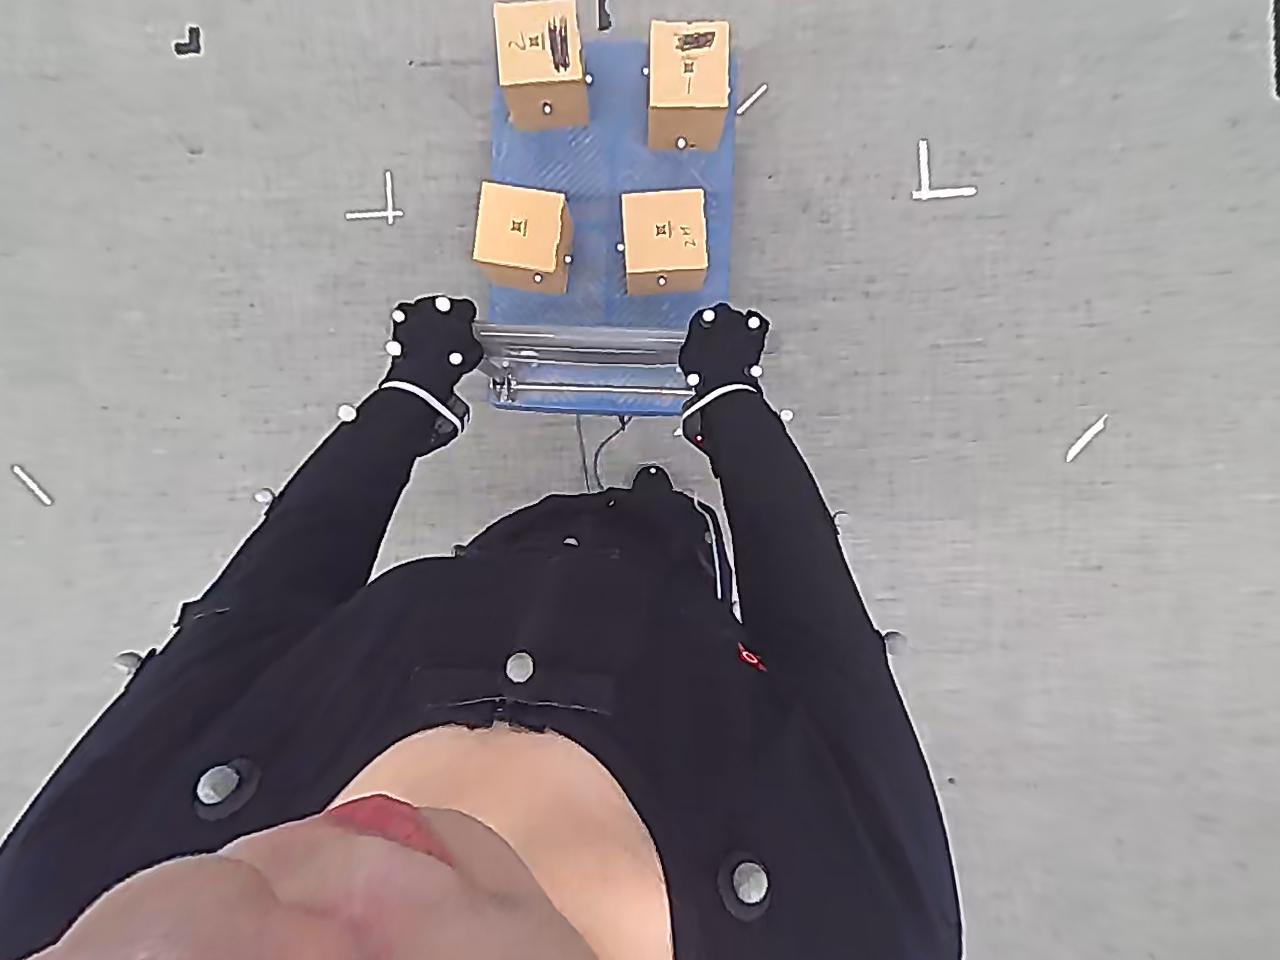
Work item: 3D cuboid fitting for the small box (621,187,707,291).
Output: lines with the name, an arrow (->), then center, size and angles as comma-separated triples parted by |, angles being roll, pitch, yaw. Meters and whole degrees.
small box -> 0.052, -0.534, 1.220 | 0.179, 0.176, 0.168 | -3, 92, 0

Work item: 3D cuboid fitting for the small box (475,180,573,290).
small box -> -0.255, -0.542, 1.219 | 0.179, 0.176, 0.168 | 7, 92, -2

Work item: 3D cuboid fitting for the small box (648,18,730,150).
small box -> 0.103, -0.875, 1.207 | 0.168, 0.176, 0.179 | 0, 93, 0
